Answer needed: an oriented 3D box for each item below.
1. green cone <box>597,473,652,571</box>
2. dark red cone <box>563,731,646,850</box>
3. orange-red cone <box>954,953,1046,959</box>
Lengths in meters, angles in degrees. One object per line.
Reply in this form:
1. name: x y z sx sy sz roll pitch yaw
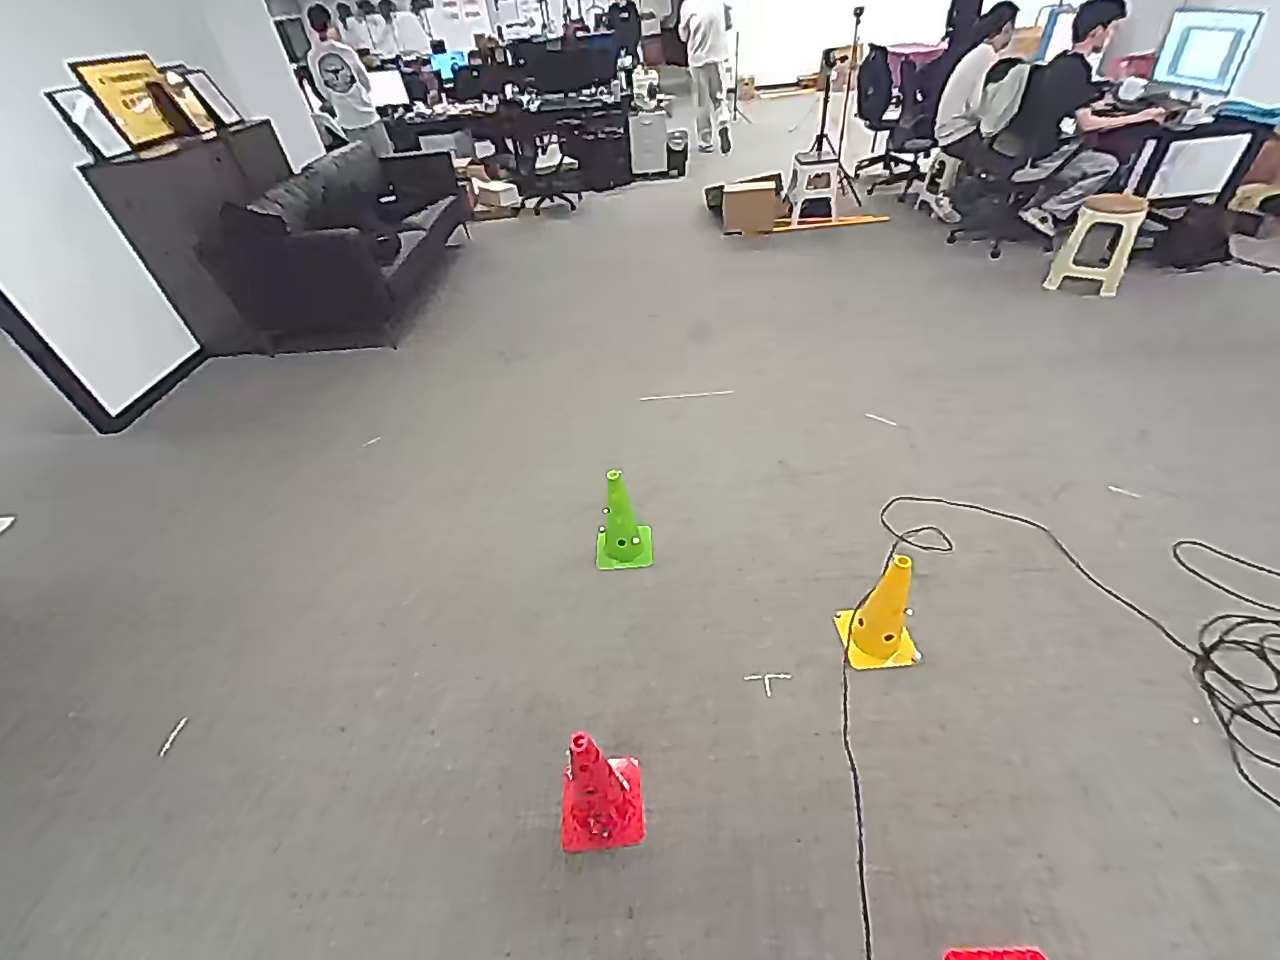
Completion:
1. green cone: -0.069 0.127 1.874 0.202 0.368 0.200 -4 41 1
2. dark red cone: -0.104 0.667 1.223 0.202 0.394 0.201 -8 42 -1
3. orange-red cone: 0.700 0.884 0.899 0.198 0.360 0.199 -3 40 3
